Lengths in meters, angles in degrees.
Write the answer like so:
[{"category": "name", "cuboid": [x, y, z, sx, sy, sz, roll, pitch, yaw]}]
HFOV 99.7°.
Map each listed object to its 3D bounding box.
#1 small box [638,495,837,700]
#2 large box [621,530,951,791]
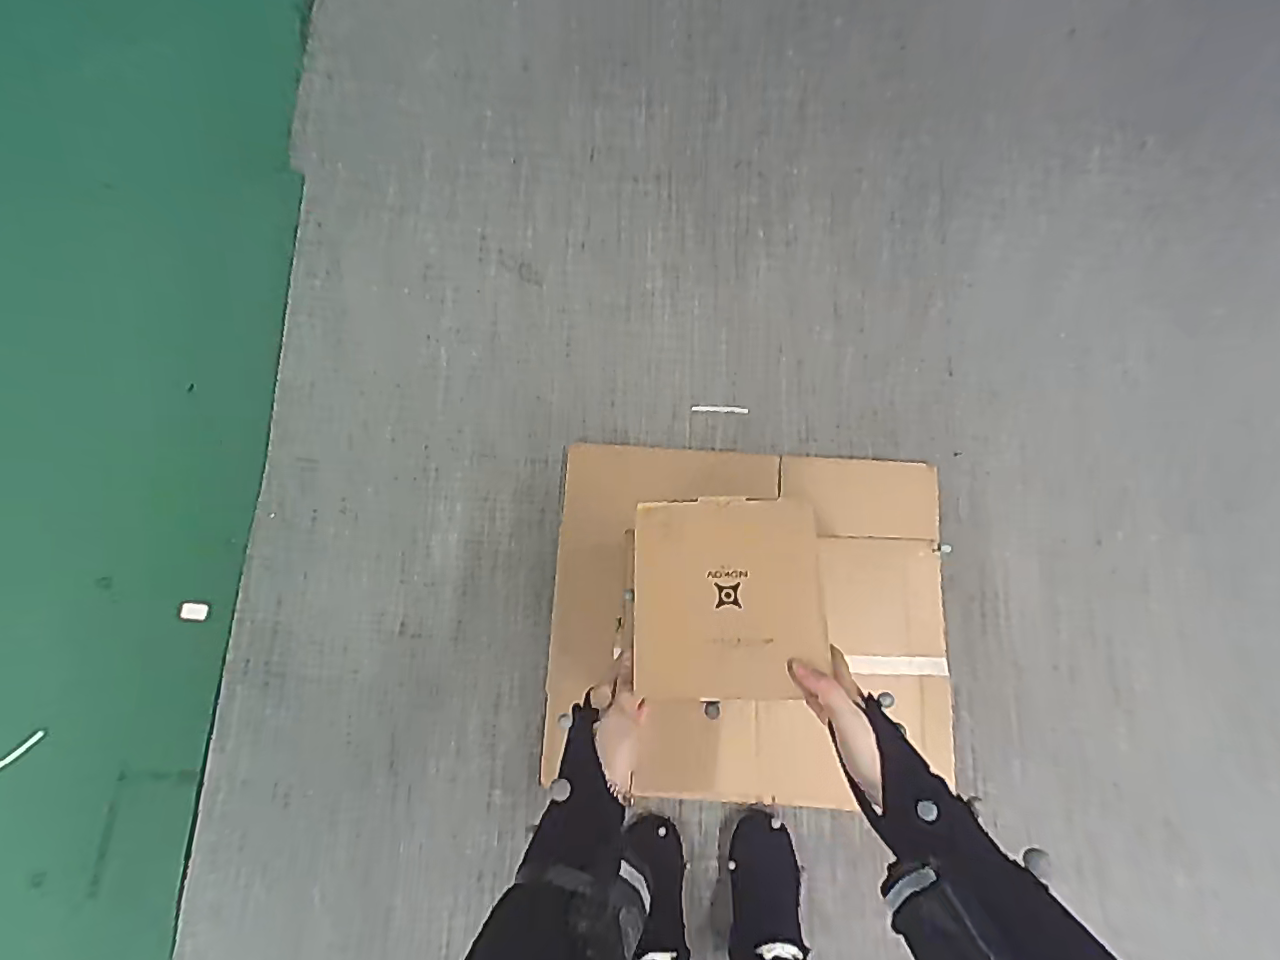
[{"category": "small box", "cuboid": [0.085, 0.127, 0.548, 0.168, 0.176, 0.179, -2, 67, 4]}, {"category": "large box", "cuboid": [0.174, 0.245, 0.816, 0.408, 0.320, 0.320, 2, 80, -1]}]
